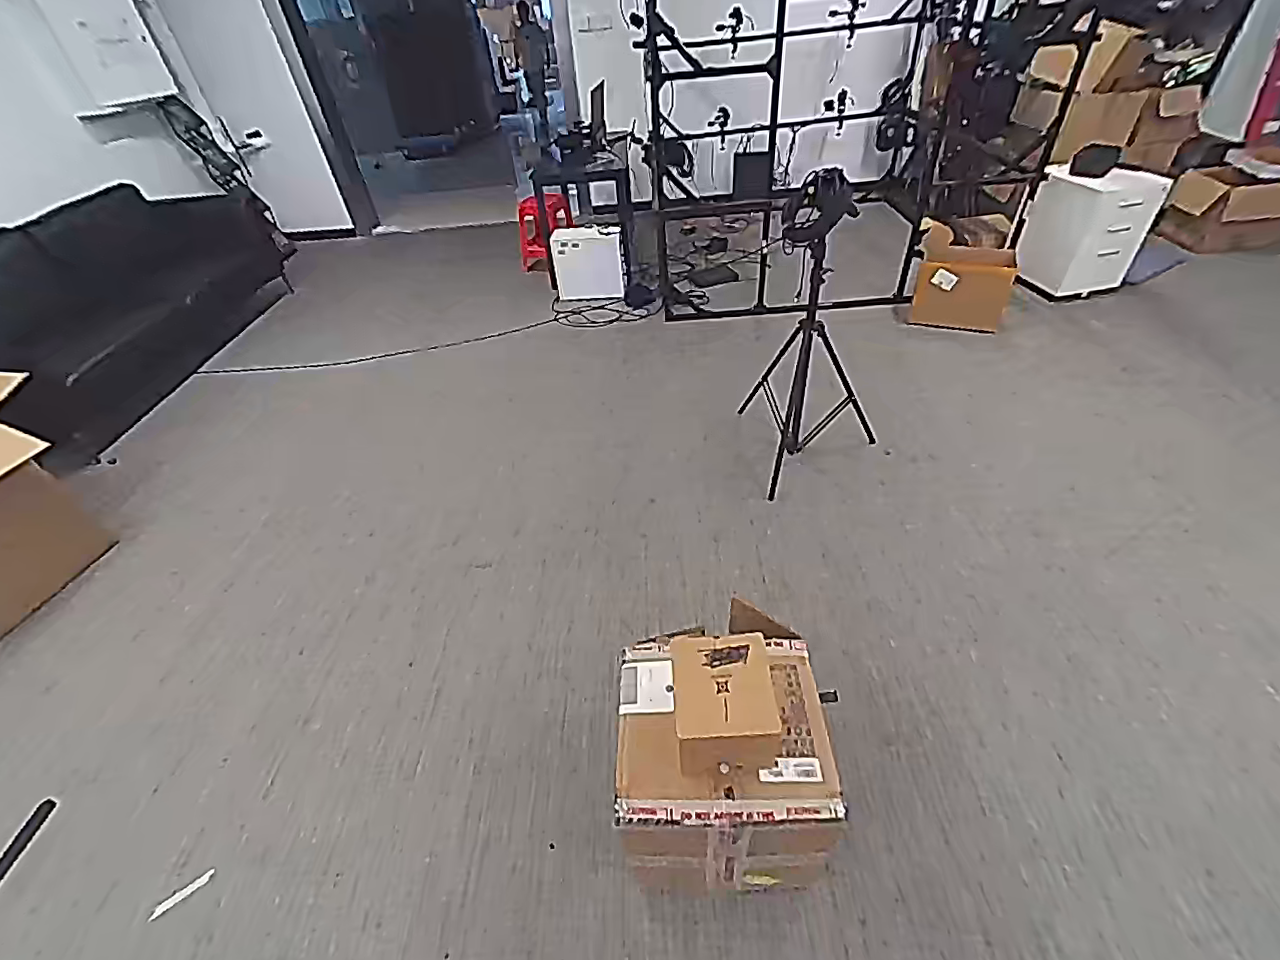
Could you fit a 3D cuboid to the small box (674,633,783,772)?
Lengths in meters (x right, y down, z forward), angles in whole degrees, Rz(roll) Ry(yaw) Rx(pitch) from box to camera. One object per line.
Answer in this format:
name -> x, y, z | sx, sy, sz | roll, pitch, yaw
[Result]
small box -> 0.146, 0.393, 0.955 | 0.168, 0.176, 0.179 | -4, 45, 3
